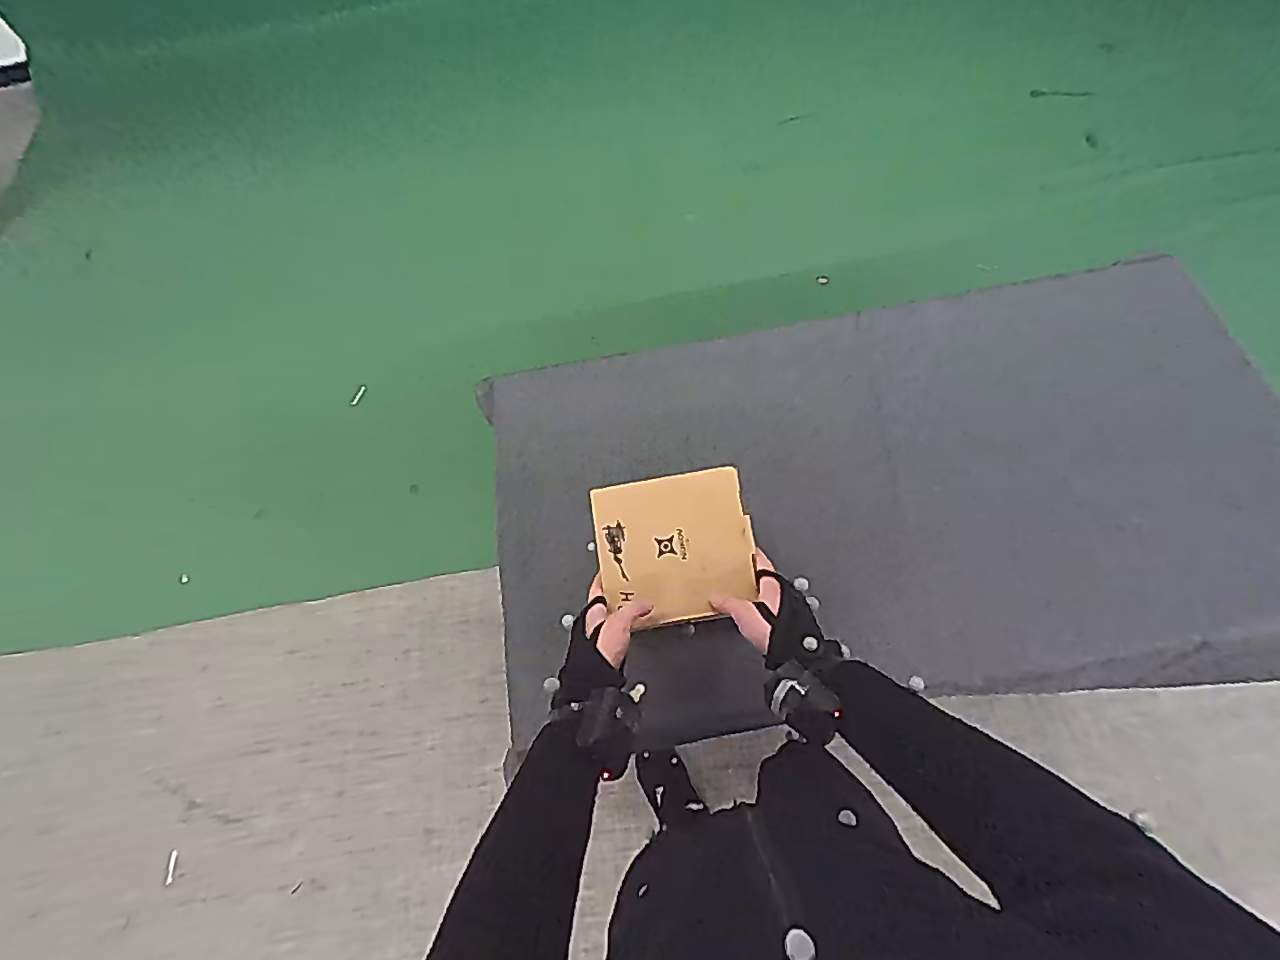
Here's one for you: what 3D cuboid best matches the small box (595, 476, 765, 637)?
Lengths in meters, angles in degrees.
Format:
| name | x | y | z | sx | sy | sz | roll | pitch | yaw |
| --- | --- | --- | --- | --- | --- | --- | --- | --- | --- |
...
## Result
| name | x | y | z | sx | sy | sz | roll | pitch | yaw |
| --- | --- | --- | --- | --- | --- | --- | --- | --- | --- |
| small box | 0.047 | 0.104 | 0.692 | 0.179 | 0.176 | 0.168 | -9 | 74 | 2 |
